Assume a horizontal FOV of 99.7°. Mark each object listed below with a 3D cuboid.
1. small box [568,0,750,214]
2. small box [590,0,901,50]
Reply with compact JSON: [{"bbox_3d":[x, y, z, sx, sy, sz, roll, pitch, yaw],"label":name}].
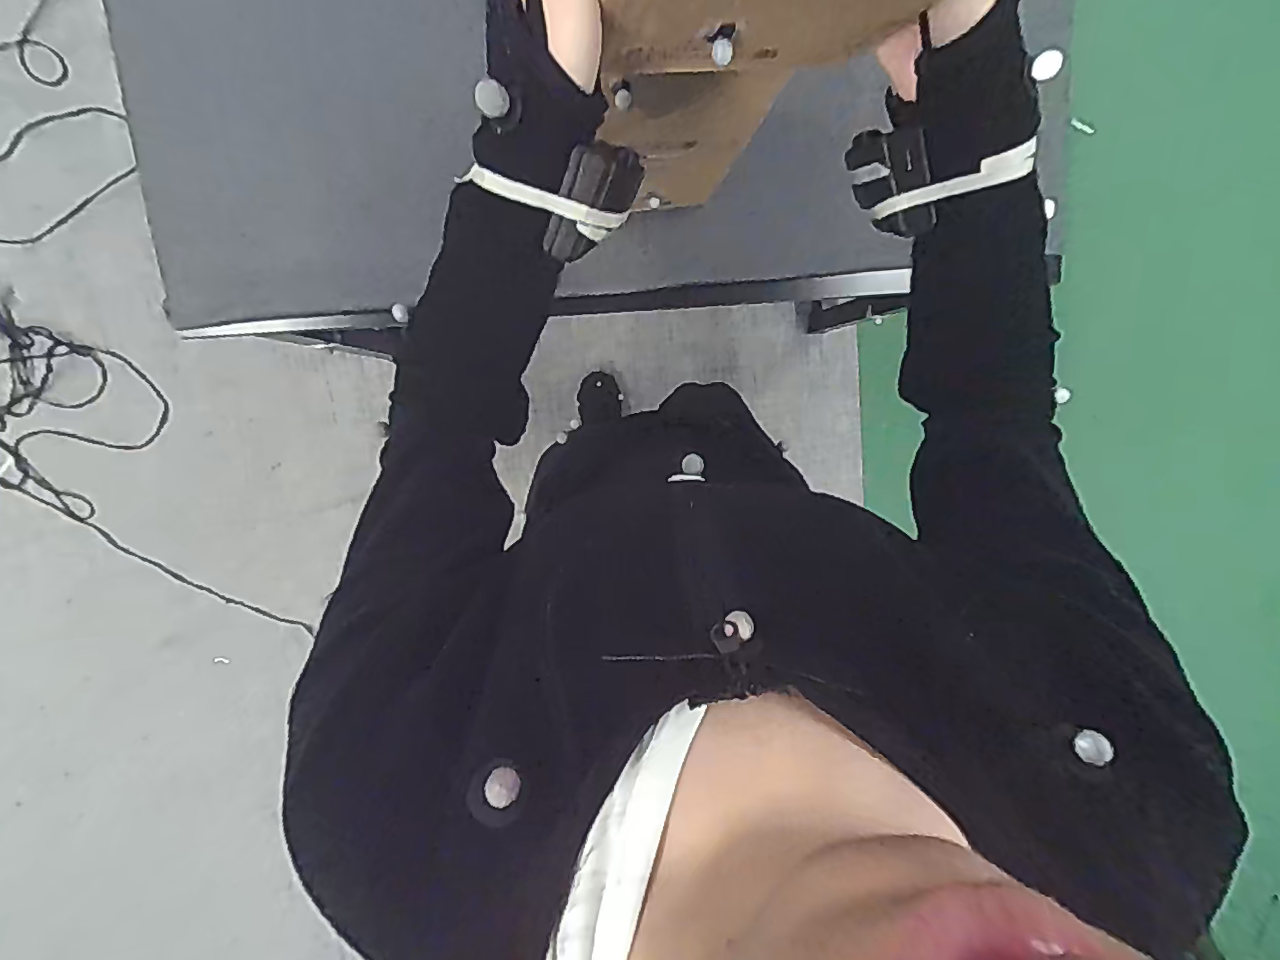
[{"bbox_3d":[0.011,-0.425,0.607,0.168,0.176,0.179,-9,98,-5],"label":"small box"},{"bbox_3d":[0.058,-0.311,0.217,0.168,0.176,0.179,-7,113,-6],"label":"small box"}]
